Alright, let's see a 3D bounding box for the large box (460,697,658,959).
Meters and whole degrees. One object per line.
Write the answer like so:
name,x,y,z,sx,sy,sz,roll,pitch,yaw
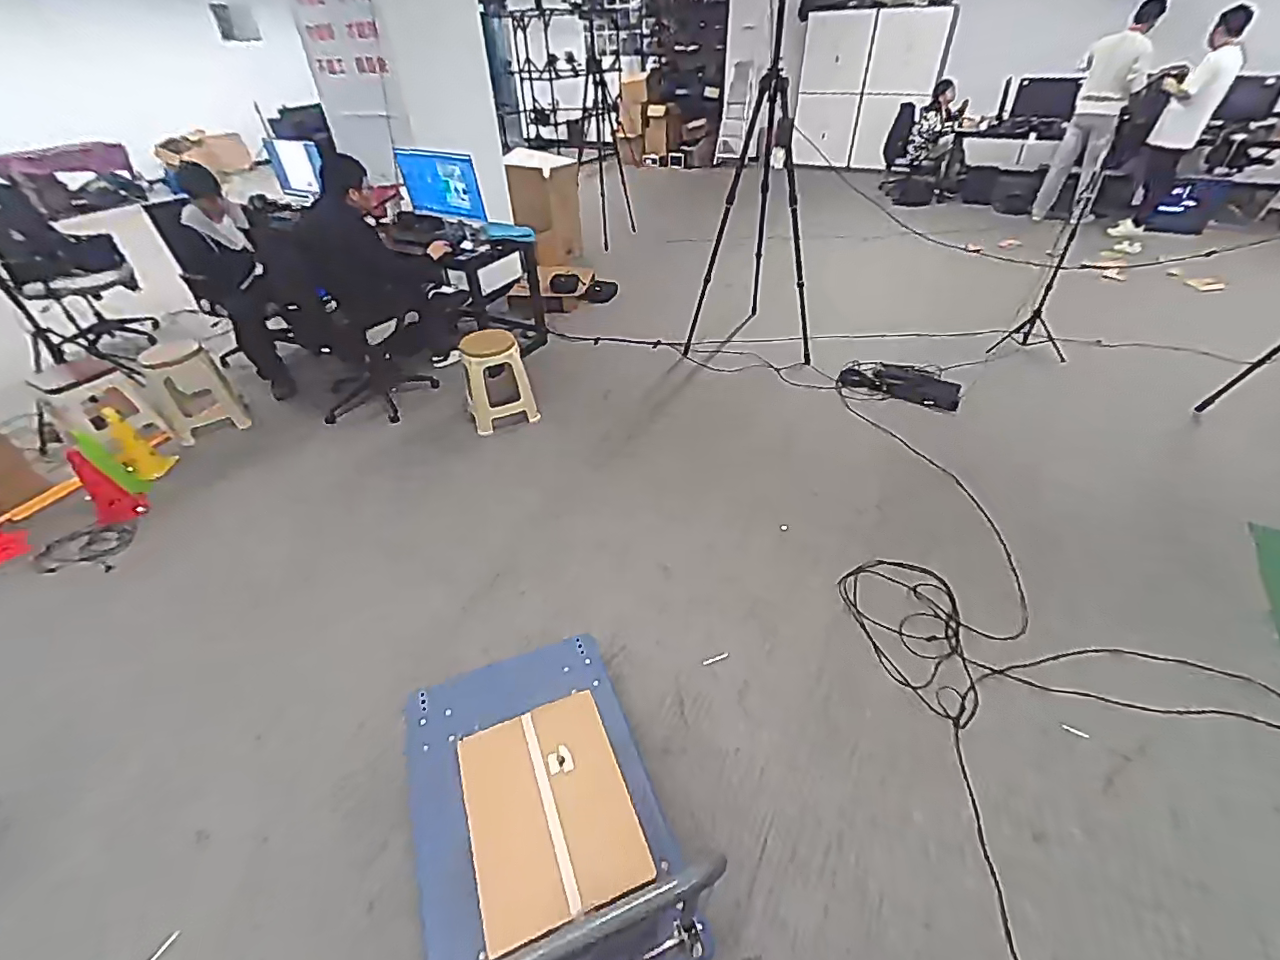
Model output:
large box,-0.179,0.784,1.194,0.320,0.320,0.408,-15,39,-17
